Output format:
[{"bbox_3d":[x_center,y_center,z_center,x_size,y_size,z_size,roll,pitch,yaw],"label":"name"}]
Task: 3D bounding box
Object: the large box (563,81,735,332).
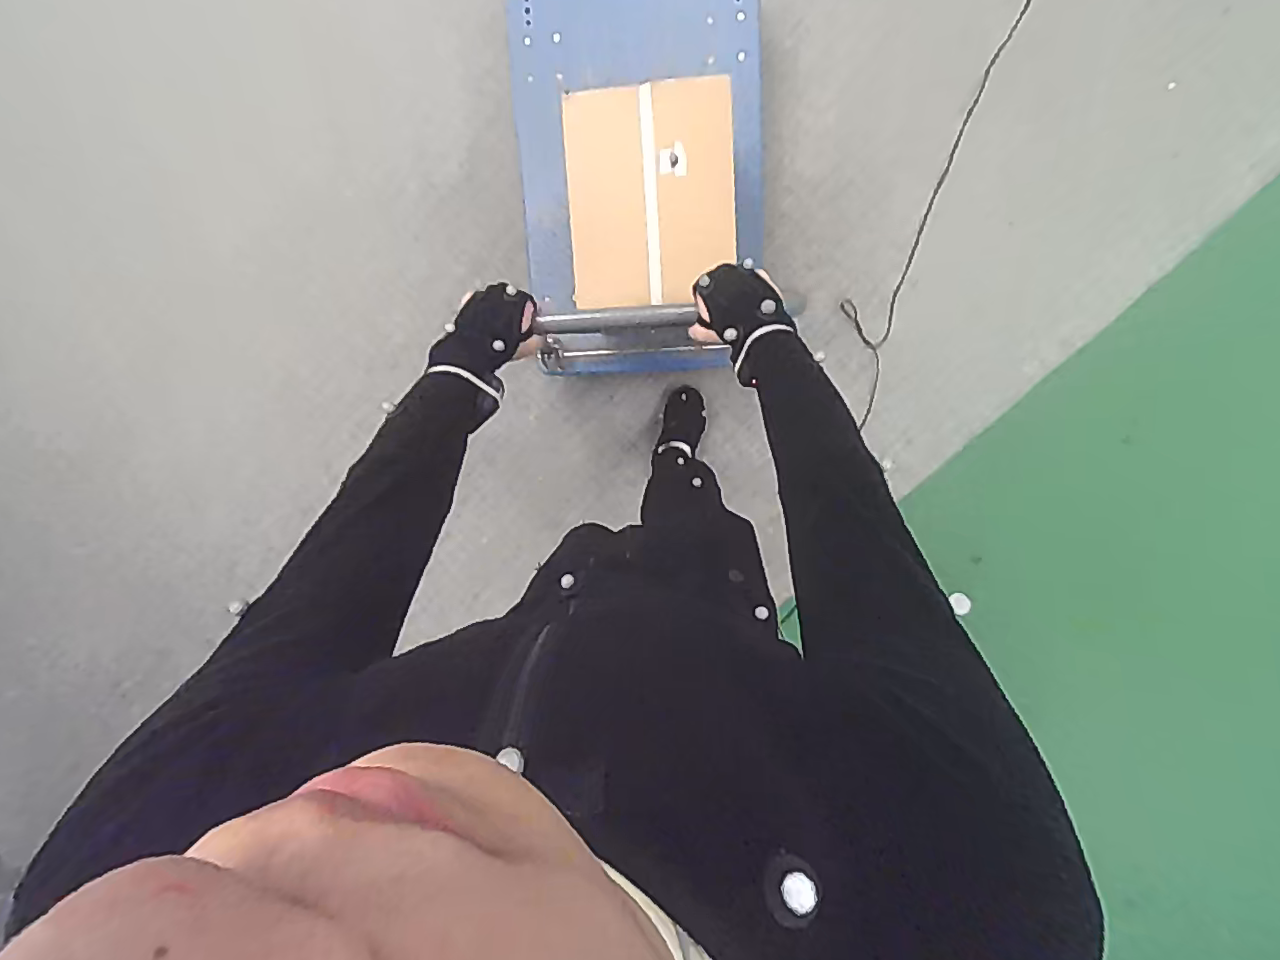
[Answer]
[{"bbox_3d":[0.031,-0.556,1.184,0.320,0.320,0.408,-2,99,4],"label":"large box"}]
